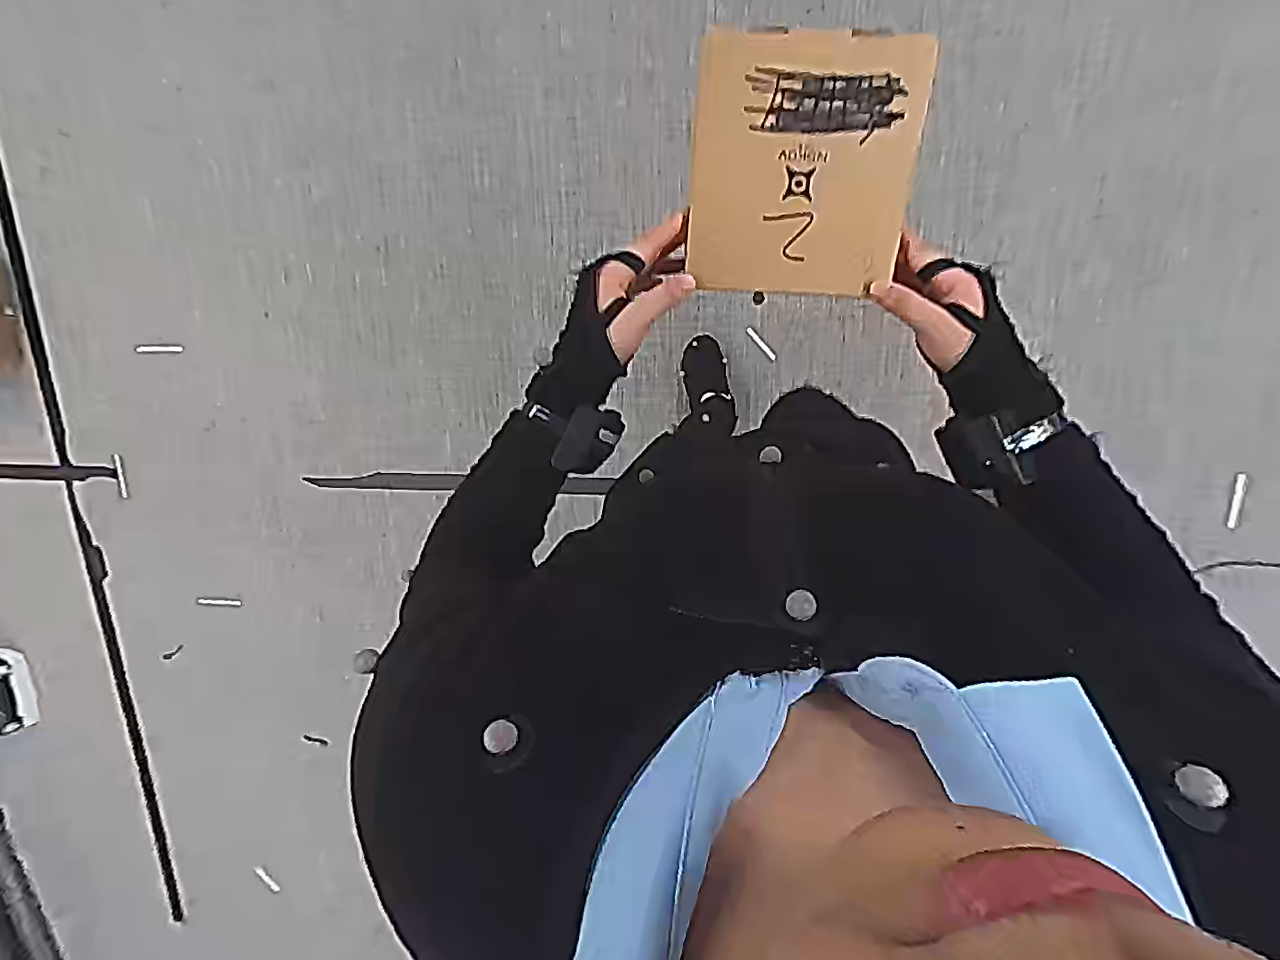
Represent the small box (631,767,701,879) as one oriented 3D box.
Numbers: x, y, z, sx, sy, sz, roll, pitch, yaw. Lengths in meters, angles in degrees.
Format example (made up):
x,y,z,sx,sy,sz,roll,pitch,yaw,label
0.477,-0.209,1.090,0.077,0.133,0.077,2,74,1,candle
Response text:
x,y,z,sx,sy,sz,roll,pitch,yaw,label
0.072,0.880,1.398,0.168,0.176,0.179,-1,101,8,small box
